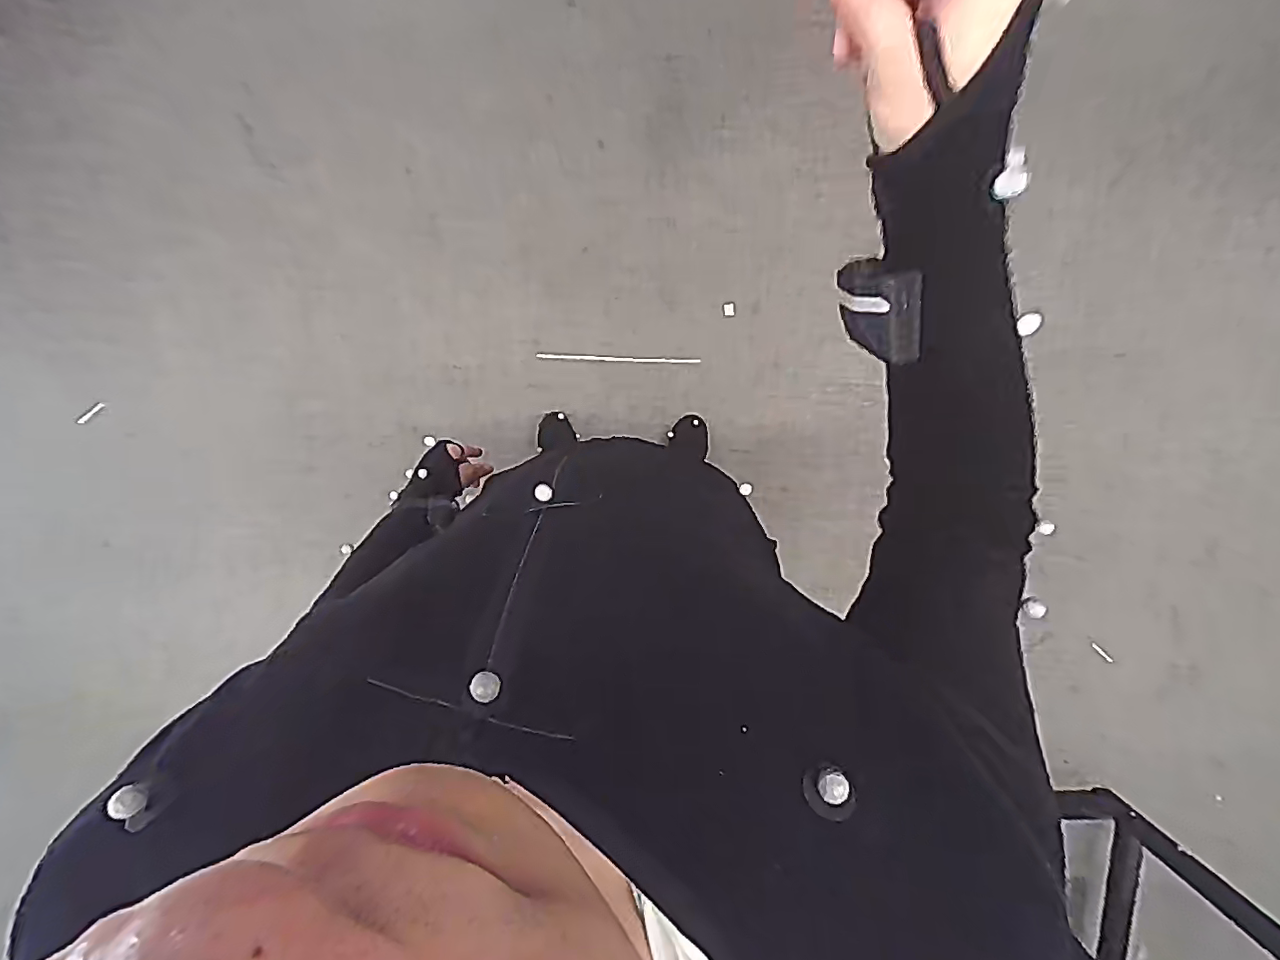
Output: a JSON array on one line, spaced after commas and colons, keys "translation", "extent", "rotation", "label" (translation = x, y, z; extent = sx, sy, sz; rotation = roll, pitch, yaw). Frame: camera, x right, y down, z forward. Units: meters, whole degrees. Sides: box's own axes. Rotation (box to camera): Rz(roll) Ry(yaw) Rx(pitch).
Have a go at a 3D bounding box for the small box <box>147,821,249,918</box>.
[{"translation": [-1.296, 1.144, 1.598], "extent": [0.179, 0.176, 0.168], "rotation": [5, 97, -1], "label": "small box"}]
